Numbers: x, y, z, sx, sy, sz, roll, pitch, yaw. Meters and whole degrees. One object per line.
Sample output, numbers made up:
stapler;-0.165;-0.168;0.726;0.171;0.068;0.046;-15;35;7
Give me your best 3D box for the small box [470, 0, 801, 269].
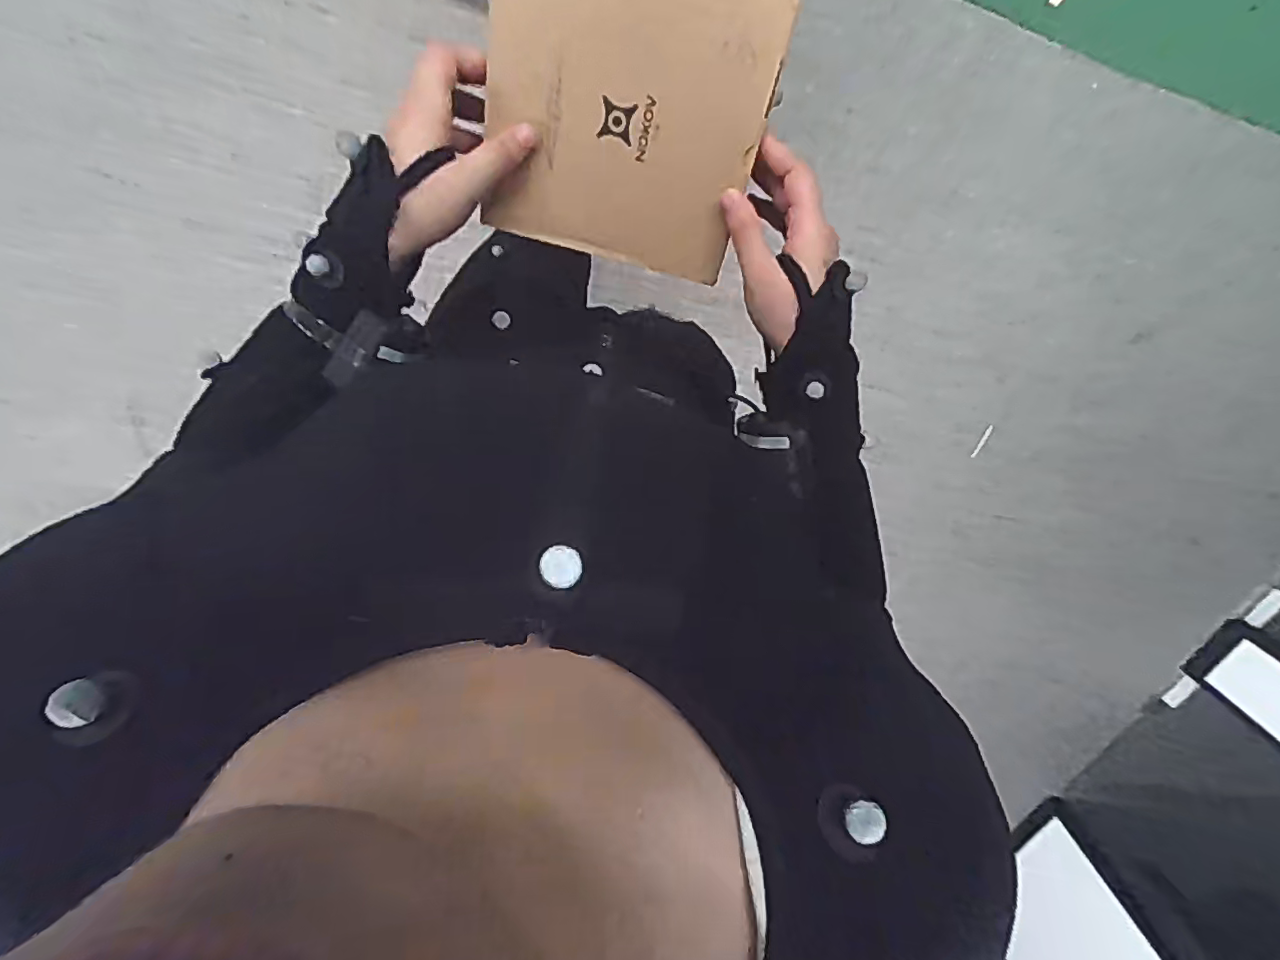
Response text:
small box;-0.007;-0.277;0.391;0.179;0.176;0.168;13;126;-4
